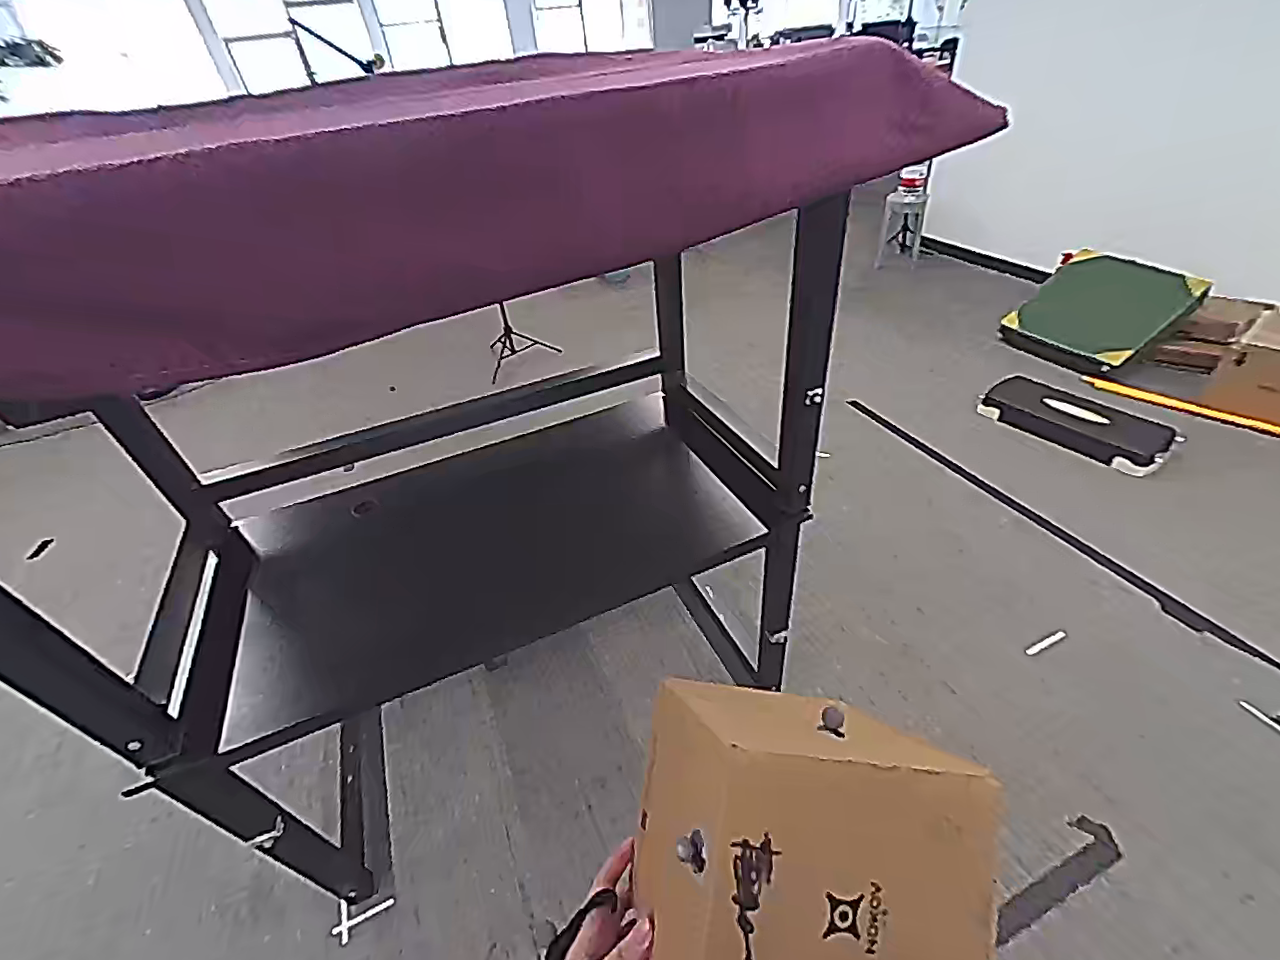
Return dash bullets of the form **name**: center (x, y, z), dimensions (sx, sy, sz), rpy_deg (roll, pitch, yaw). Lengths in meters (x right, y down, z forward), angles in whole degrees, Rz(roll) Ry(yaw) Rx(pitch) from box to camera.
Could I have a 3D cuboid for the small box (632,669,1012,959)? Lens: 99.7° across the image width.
- **small box**: center (0.106, 0.235, 0.368), dimensions (0.179, 0.176, 0.168), rpy_deg (11, 80, -11)
